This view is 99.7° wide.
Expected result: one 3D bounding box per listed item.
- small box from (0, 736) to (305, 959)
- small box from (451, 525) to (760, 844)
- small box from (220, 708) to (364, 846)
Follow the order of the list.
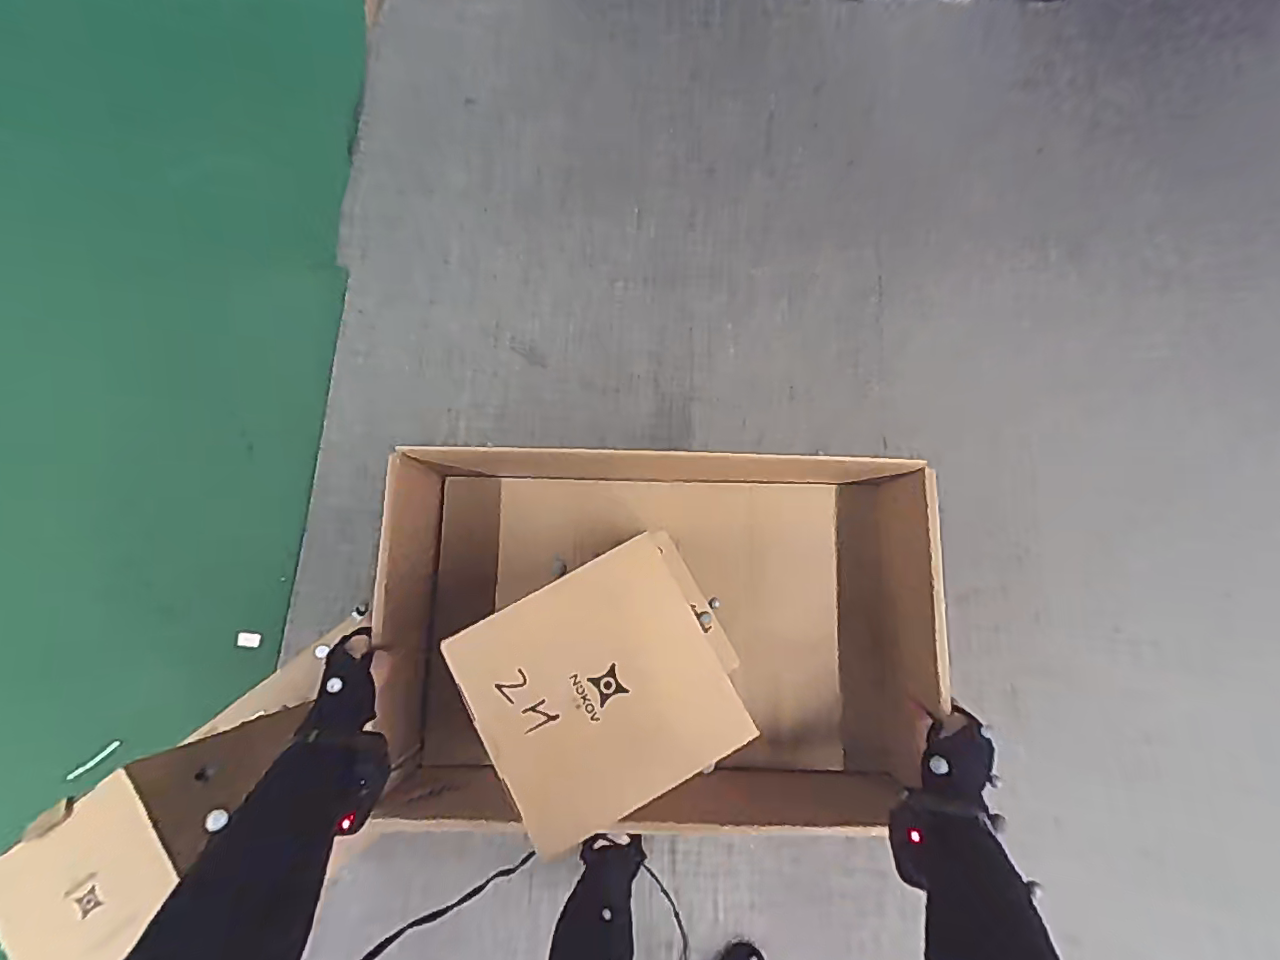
[{"bbox_3d":[-0.522,0.409,0.592,0.168,0.176,0.179,-36,80,-7],"label":"small box"},{"bbox_3d":[-0.027,0.154,0.467,0.179,0.176,0.168,-28,81,-4],"label":"small box"},{"bbox_3d":[-0.529,0.441,0.752,0.168,0.176,0.179,-33,80,-7],"label":"small box"}]
